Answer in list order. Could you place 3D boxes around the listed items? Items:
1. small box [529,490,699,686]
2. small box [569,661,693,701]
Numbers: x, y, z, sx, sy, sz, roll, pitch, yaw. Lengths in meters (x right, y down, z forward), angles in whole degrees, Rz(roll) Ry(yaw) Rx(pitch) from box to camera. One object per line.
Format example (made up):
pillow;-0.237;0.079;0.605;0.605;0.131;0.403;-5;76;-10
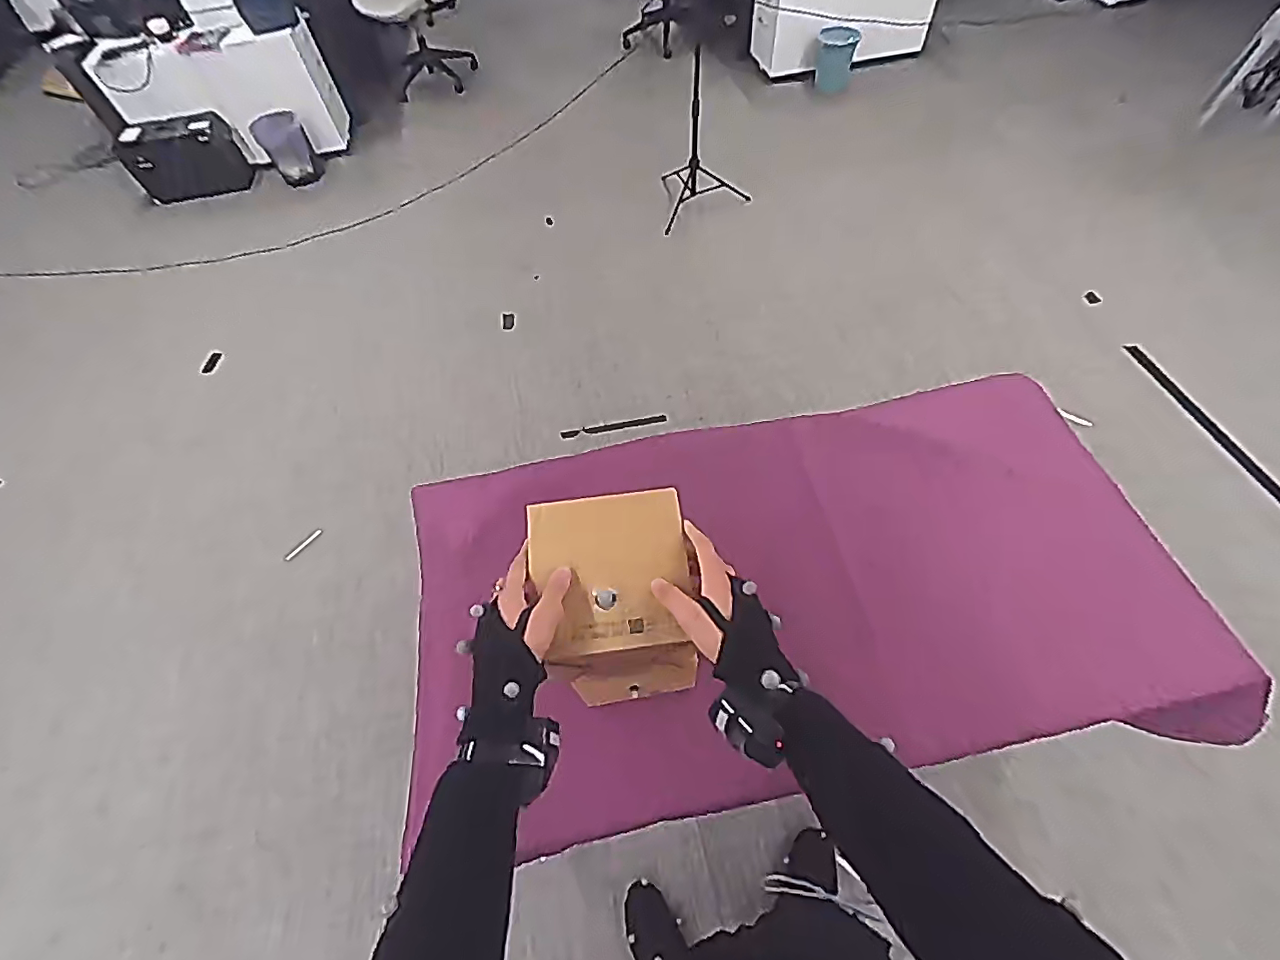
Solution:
small box;-0.030;0.133;0.624;0.168;0.179;0.176;-7;61;-2
small box;-0.018;0.216;0.794;0.168;0.176;0.179;-9;57;-2
